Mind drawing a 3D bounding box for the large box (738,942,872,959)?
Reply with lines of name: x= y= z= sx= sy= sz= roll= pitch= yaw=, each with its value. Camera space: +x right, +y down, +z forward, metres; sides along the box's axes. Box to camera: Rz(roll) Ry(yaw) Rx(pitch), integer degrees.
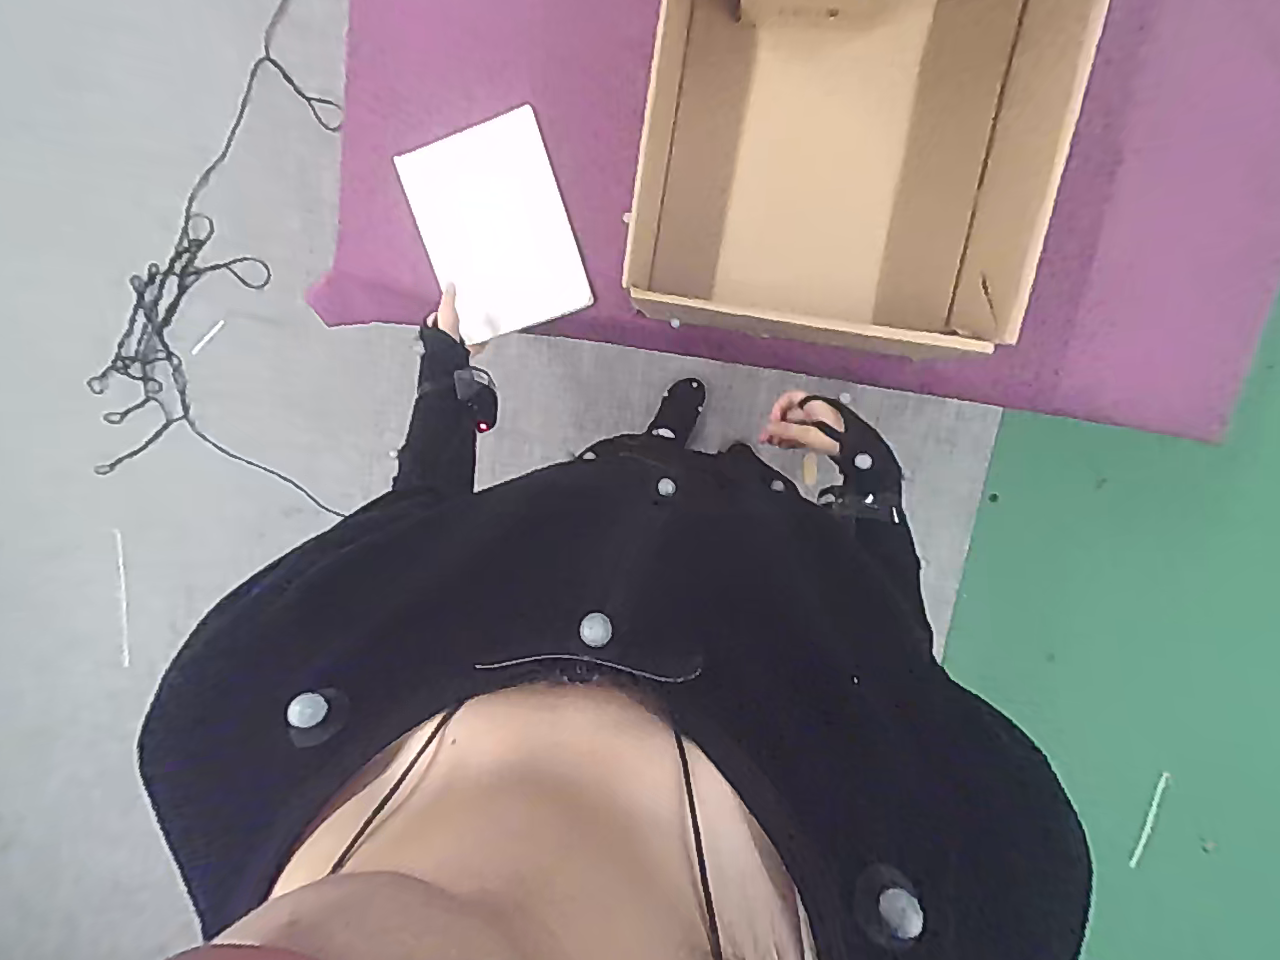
large box: x=0.518 y=1.635 z=1.578 sx=0.408 sy=0.320 sz=0.320 roll=-6 pitch=99 yaw=4
